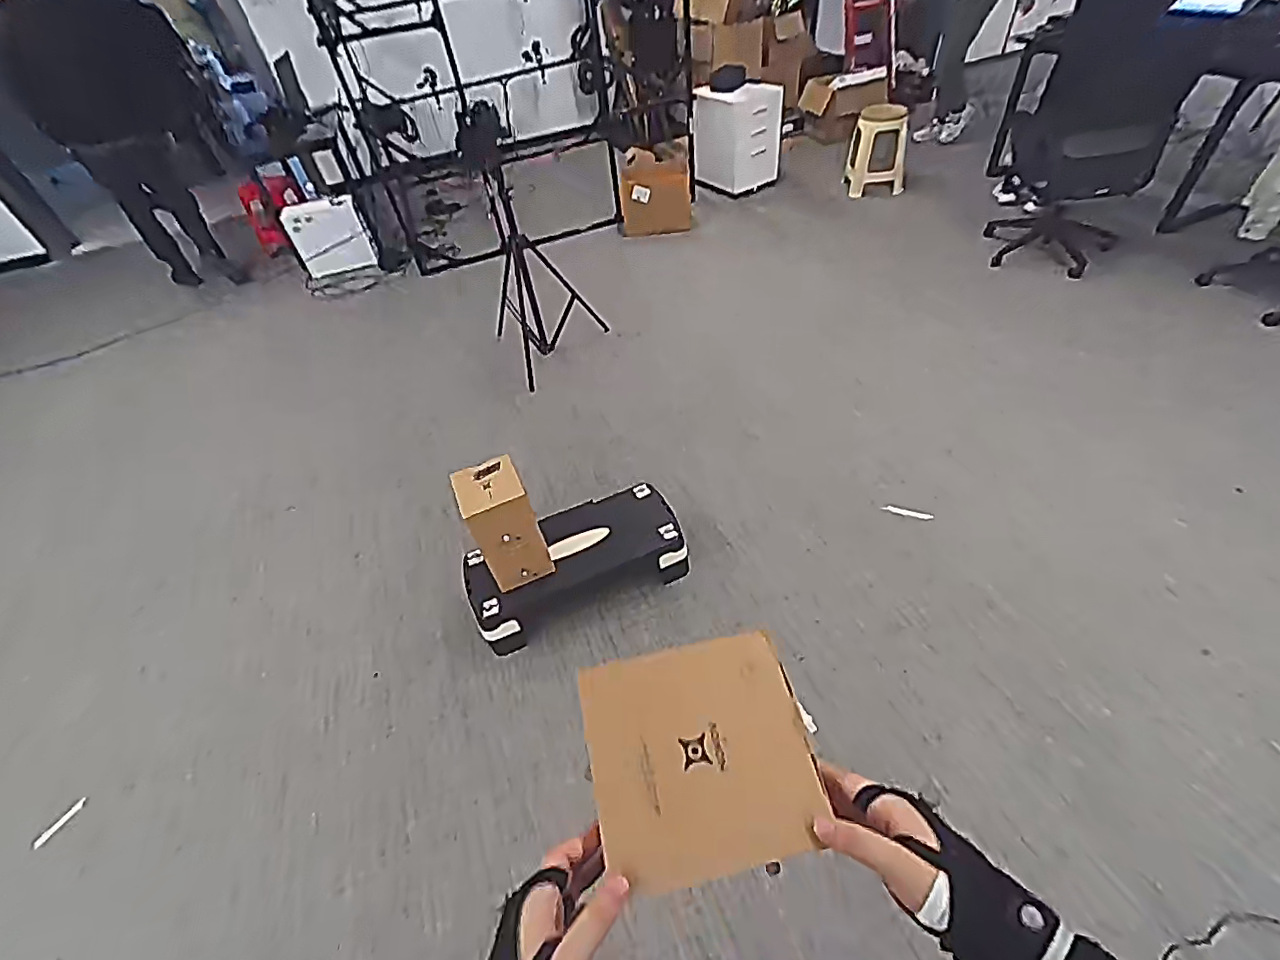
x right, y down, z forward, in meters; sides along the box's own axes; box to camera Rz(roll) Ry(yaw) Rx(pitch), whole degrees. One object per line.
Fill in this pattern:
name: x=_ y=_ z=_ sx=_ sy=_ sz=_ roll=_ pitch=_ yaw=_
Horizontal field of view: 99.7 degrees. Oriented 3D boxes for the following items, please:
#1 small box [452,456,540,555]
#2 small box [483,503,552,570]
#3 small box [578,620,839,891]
small box: x=-0.386 y=0.070 z=1.458 sx=0.168 sy=0.176 sz=0.179 roll=-23 pitch=48 yaw=-13
small box: x=-0.364 y=0.186 z=1.572 sx=0.168 sy=0.176 sz=0.179 roll=-22 pitch=47 yaw=-12
small box: x=0.048 y=0.248 z=0.497 sx=0.179 sy=0.176 sz=0.168 roll=-12 pitch=58 yaw=-5
